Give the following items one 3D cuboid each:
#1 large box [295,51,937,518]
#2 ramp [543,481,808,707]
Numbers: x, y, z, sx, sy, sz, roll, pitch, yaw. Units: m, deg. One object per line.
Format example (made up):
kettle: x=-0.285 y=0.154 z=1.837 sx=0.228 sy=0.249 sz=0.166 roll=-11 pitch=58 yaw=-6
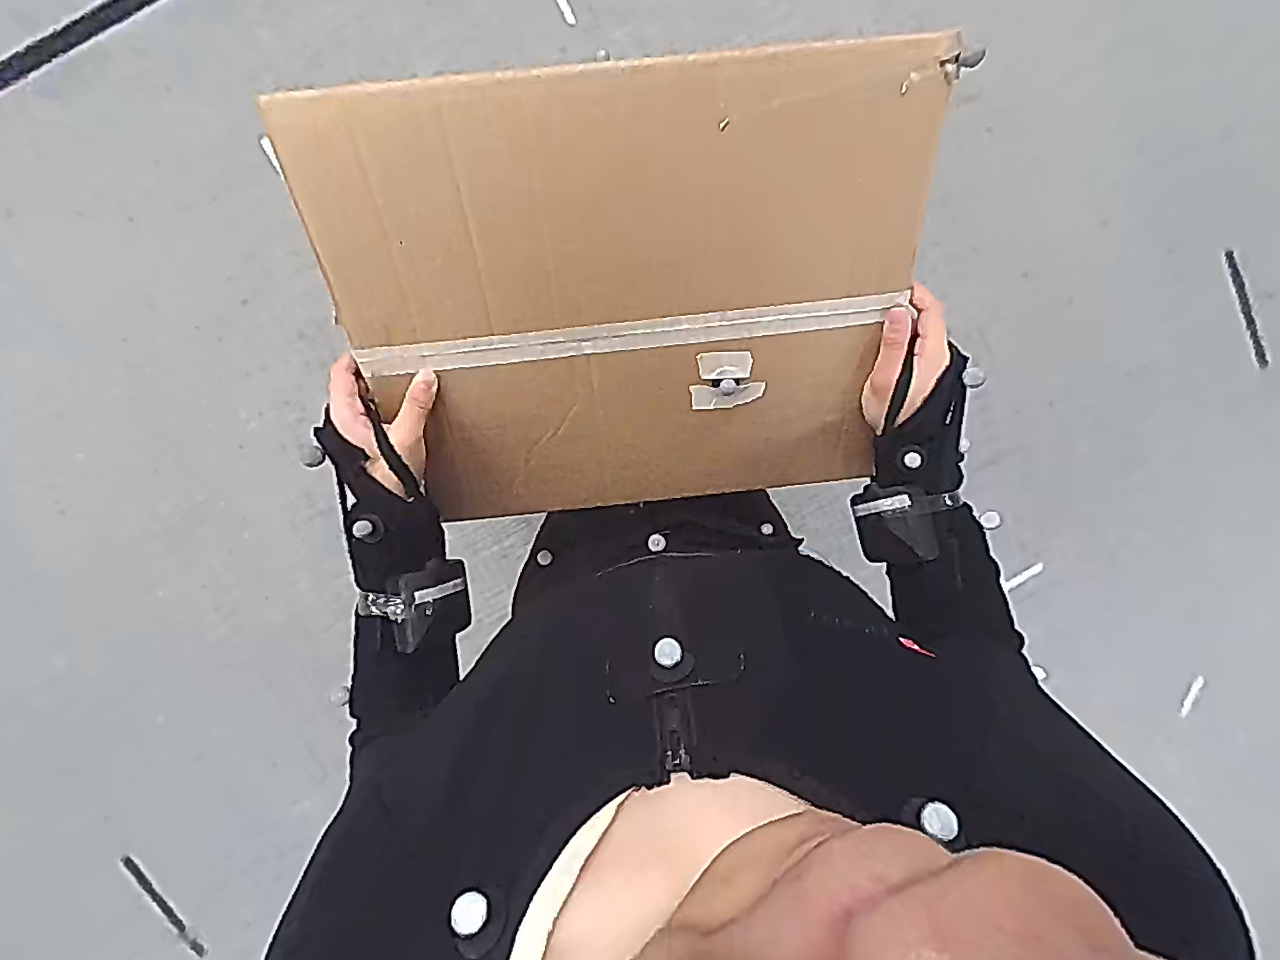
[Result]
large box: x=-0.015 y=-0.197 z=0.533 sx=0.408 sy=0.320 sz=0.320 roll=-7 pitch=126 yaw=-2
ramp: x=0.093 y=0.181 z=1.489 sx=0.509 sy=0.206 sz=0.991 roll=-31 pitch=102 yaw=-1
